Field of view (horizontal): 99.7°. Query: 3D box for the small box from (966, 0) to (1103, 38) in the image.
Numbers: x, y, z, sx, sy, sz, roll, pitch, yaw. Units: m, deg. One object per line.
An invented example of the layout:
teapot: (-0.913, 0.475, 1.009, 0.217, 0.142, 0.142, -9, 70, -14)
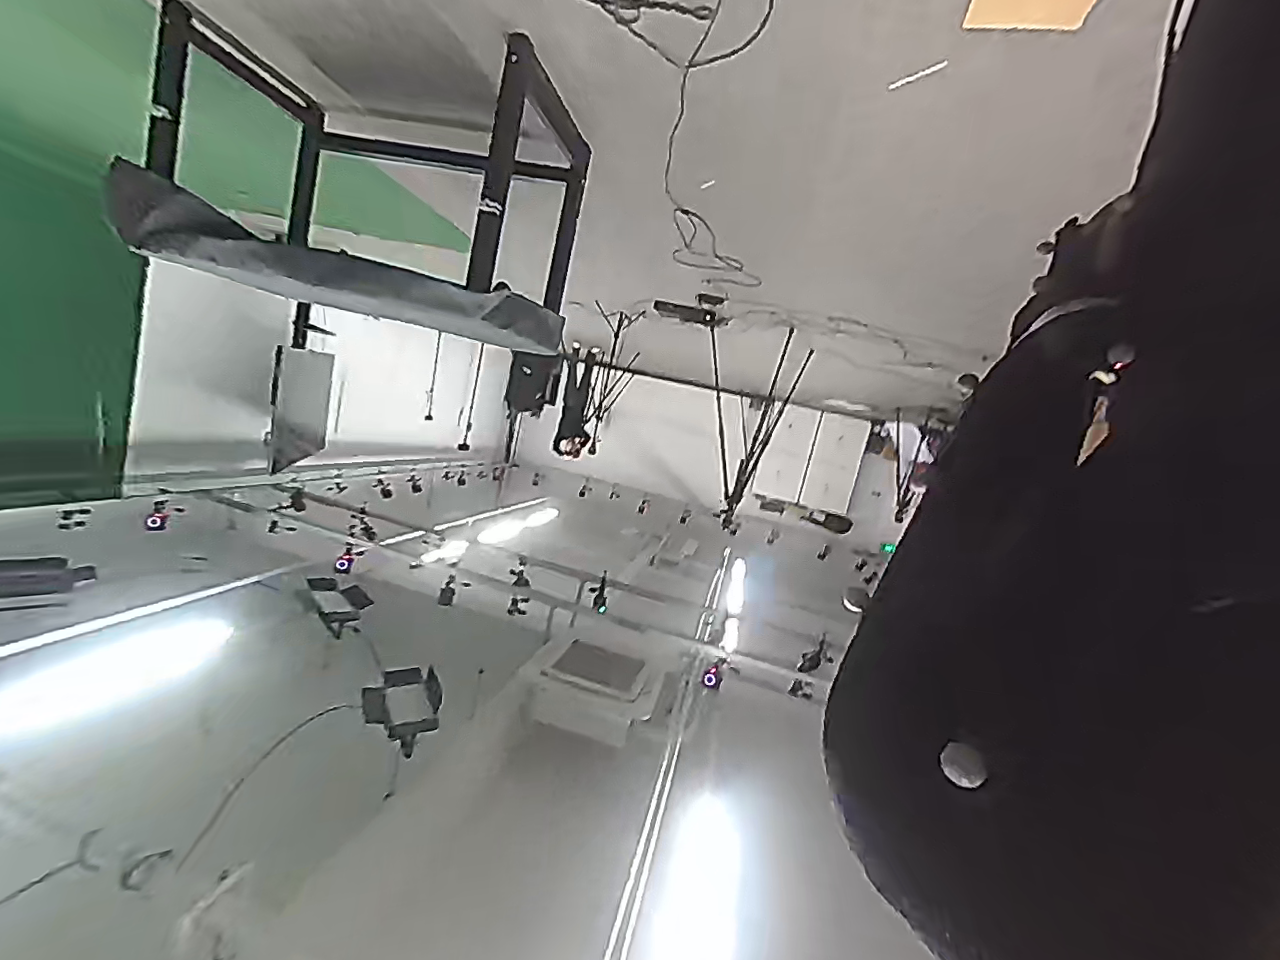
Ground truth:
small box: (0.594, -0.775, 0.759, 0.168, 0.176, 0.179, 16, -174, 16)
